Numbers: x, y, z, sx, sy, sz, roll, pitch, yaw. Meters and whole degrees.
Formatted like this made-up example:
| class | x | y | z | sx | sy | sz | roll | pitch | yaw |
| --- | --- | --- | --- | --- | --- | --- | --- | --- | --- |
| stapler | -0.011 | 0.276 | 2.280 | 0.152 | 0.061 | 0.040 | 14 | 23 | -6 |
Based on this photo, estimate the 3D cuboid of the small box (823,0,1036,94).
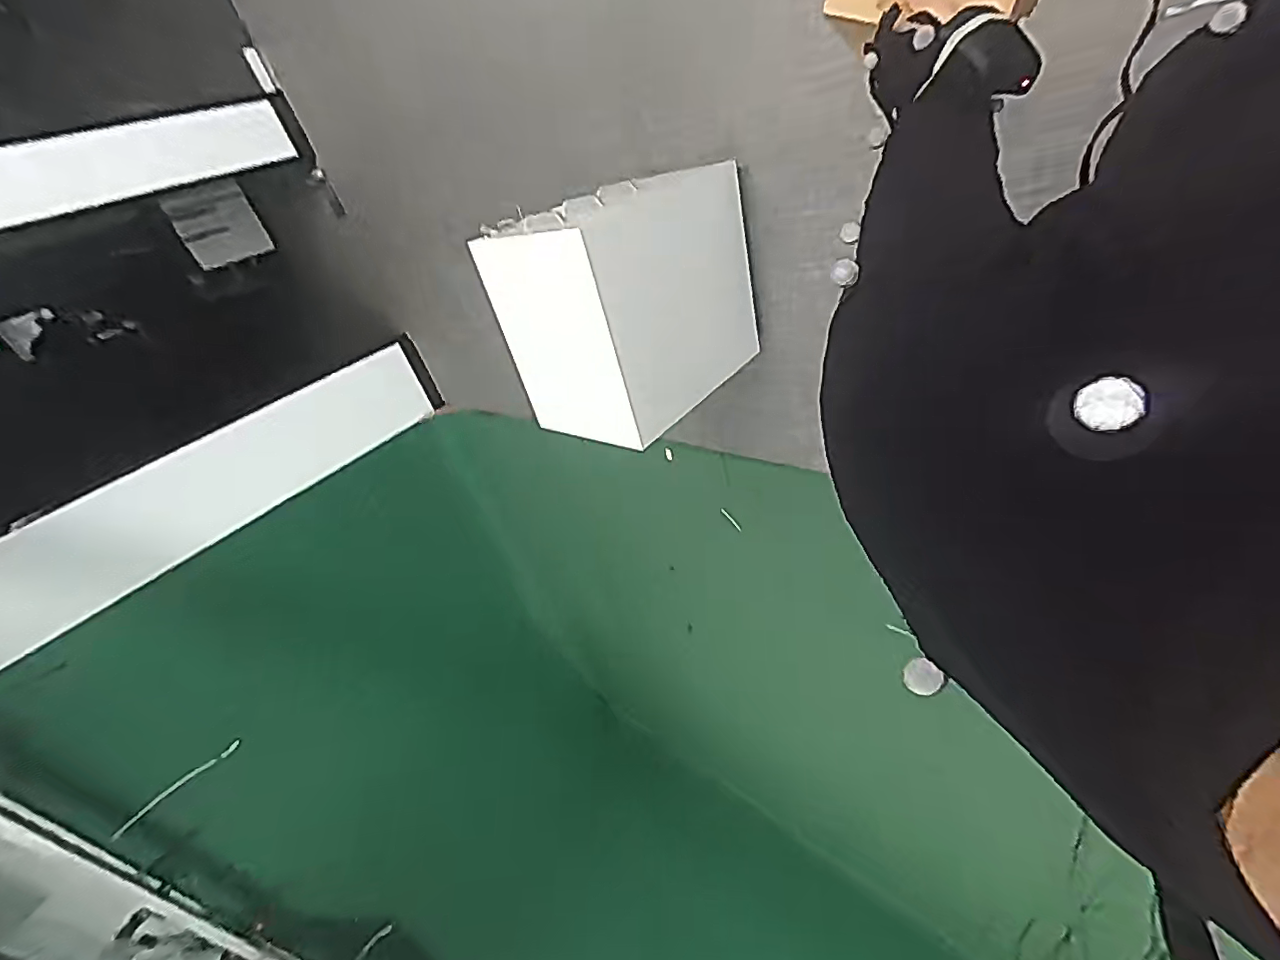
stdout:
| class | x | y | z | sx | sy | sz | roll | pitch | yaw |
| --- | --- | --- | --- | --- | --- | --- | --- | --- | --- |
| small box | 0.311 | -0.514 | 0.533 | 0.168 | 0.179 | 0.176 | 30 | 126 | 19 |
